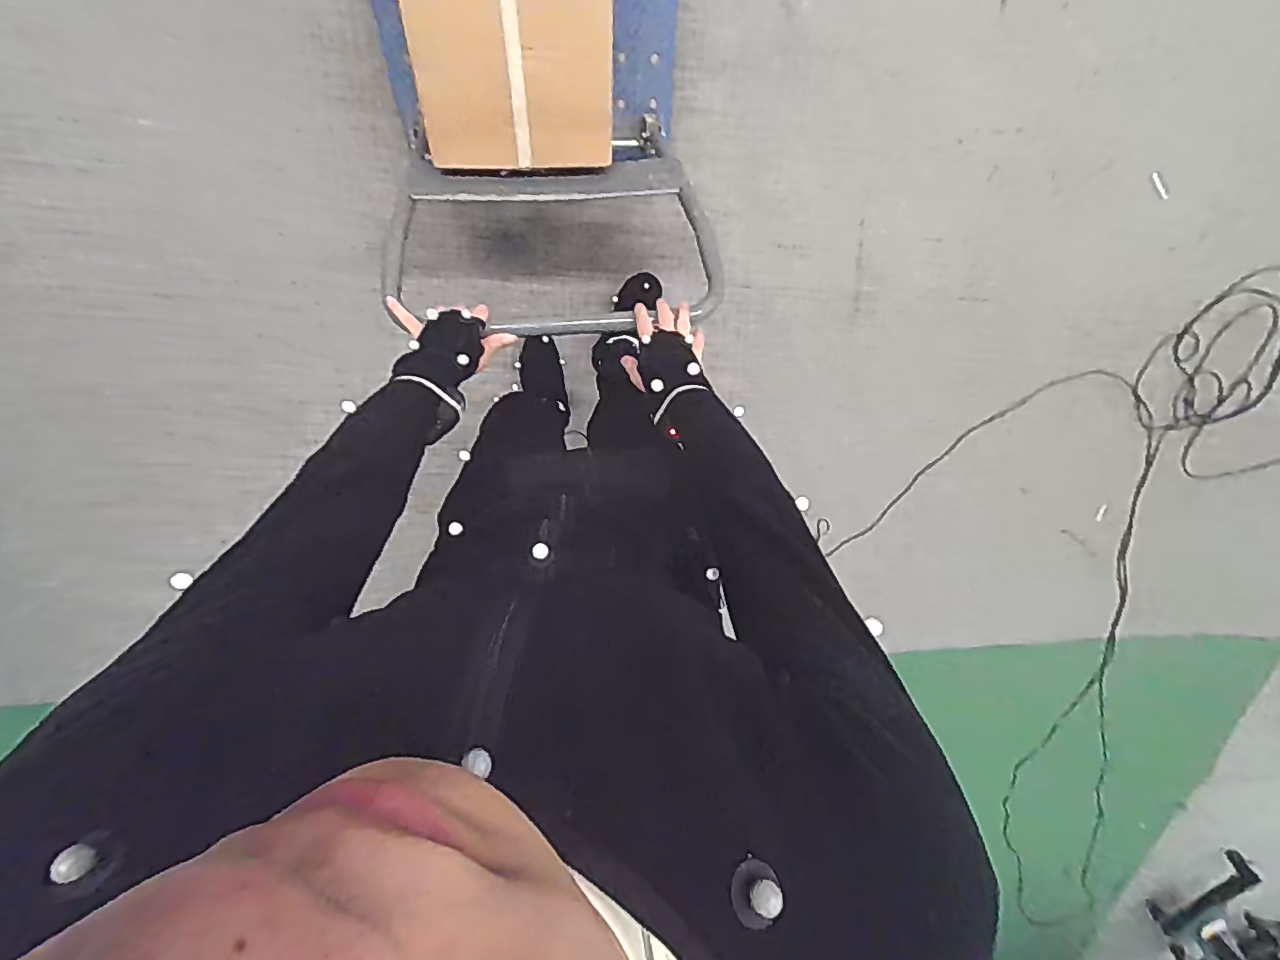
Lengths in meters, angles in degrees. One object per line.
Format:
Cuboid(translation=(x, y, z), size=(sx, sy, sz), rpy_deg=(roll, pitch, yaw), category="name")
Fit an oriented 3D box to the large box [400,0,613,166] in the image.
Cuboid(translation=(-0.220, -0.803, 0.923), size=(0.320, 0.320, 0.408), rpy_deg=(-5, 136, -8), category="large box")
